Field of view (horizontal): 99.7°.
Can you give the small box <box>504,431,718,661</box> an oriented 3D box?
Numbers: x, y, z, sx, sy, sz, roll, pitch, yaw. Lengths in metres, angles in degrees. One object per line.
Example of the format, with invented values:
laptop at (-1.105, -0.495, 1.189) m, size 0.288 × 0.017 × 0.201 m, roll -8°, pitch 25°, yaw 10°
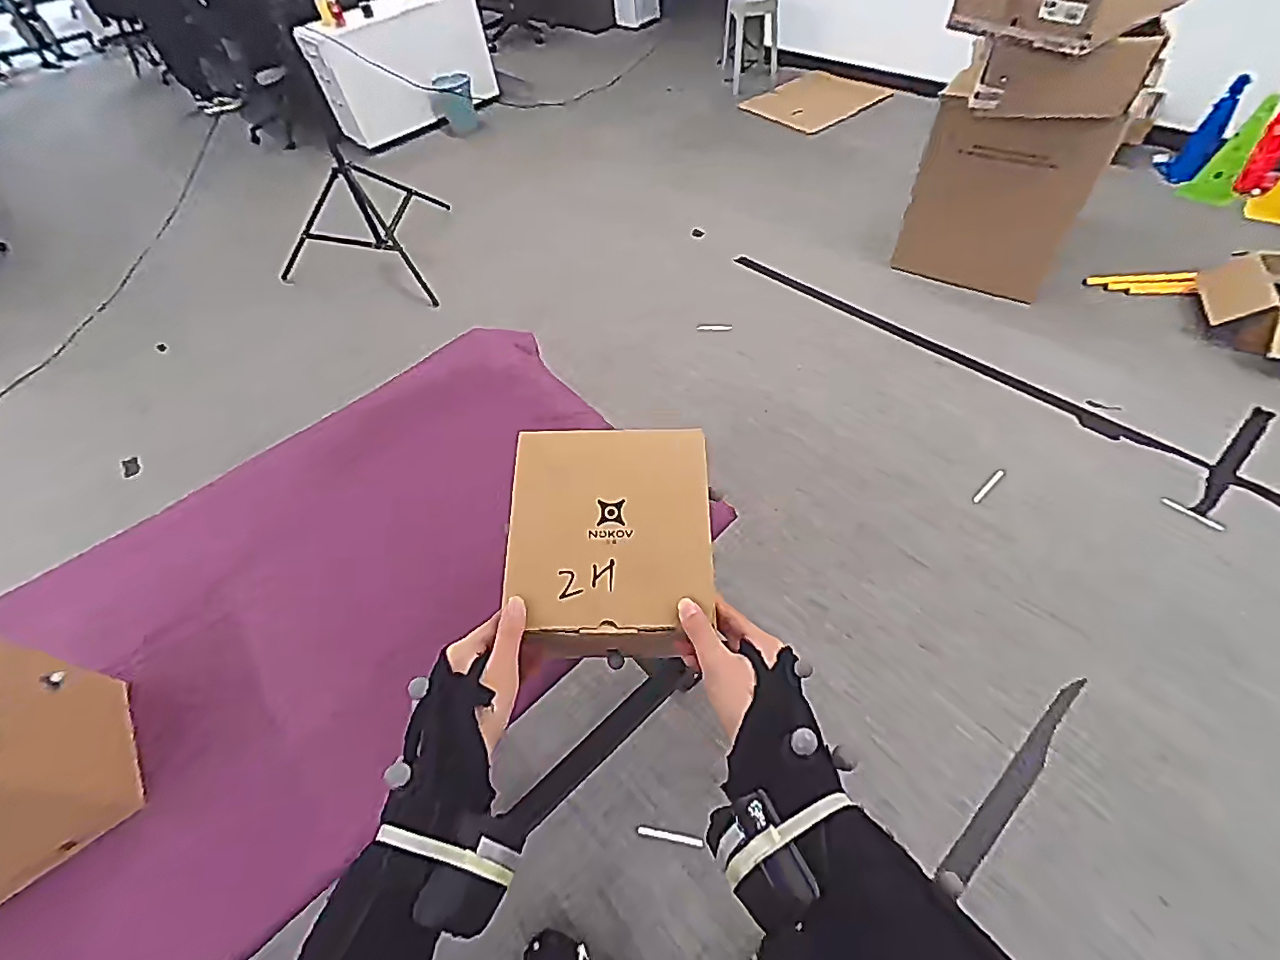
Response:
small box at (-0.020, 0.070, 0.515) m, size 0.168 × 0.176 × 0.179 m, roll -1°, pitch 65°, yaw 1°
